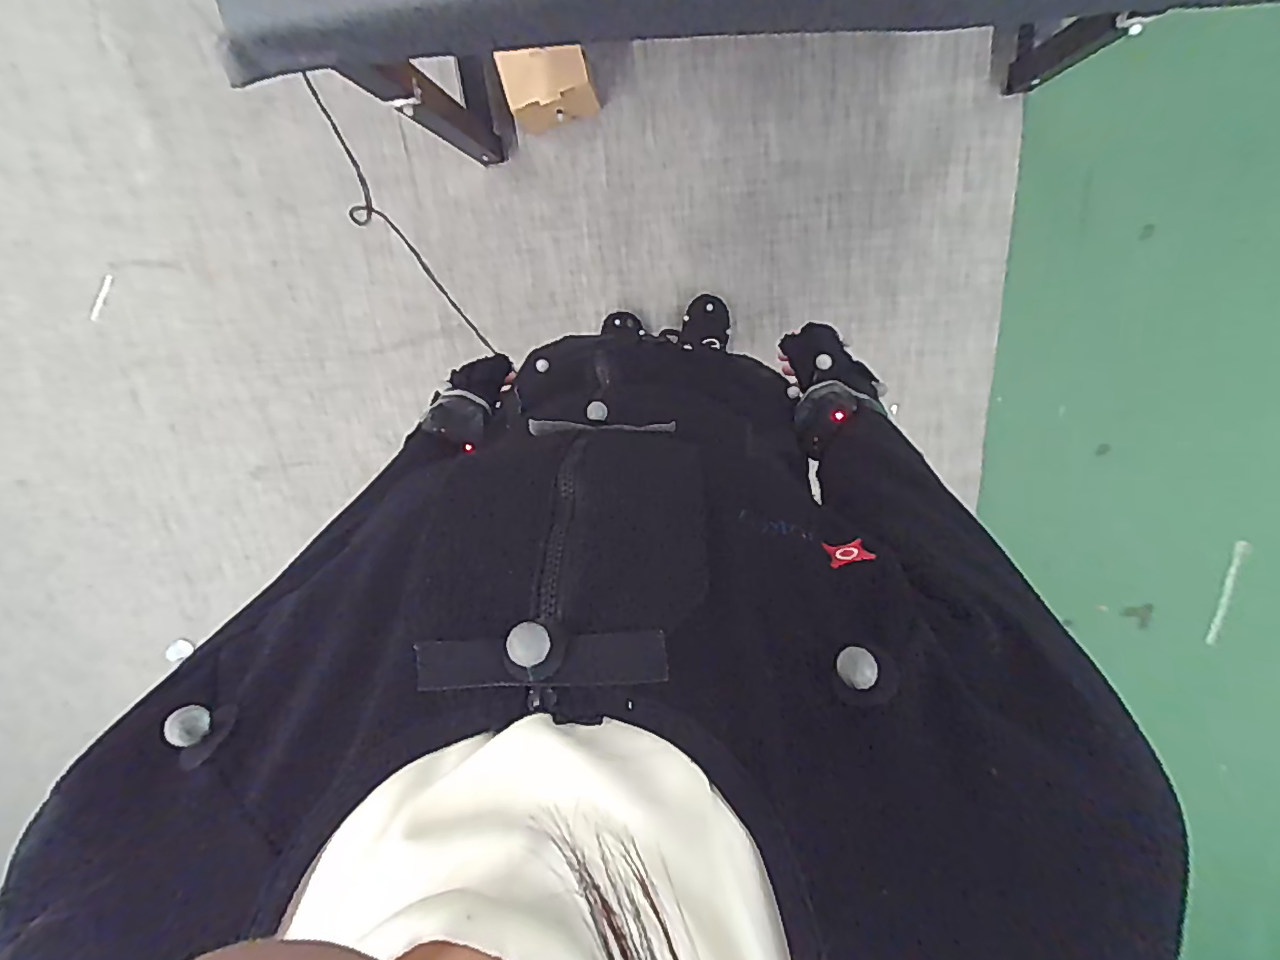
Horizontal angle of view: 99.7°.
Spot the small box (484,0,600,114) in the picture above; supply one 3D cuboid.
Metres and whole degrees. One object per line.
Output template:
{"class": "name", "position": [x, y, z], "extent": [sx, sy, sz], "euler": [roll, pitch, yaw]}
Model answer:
{"class": "small box", "position": [-0.187, -0.867, 1.086], "extent": [0.168, 0.176, 0.179], "euler": [-13, 109, 8]}
